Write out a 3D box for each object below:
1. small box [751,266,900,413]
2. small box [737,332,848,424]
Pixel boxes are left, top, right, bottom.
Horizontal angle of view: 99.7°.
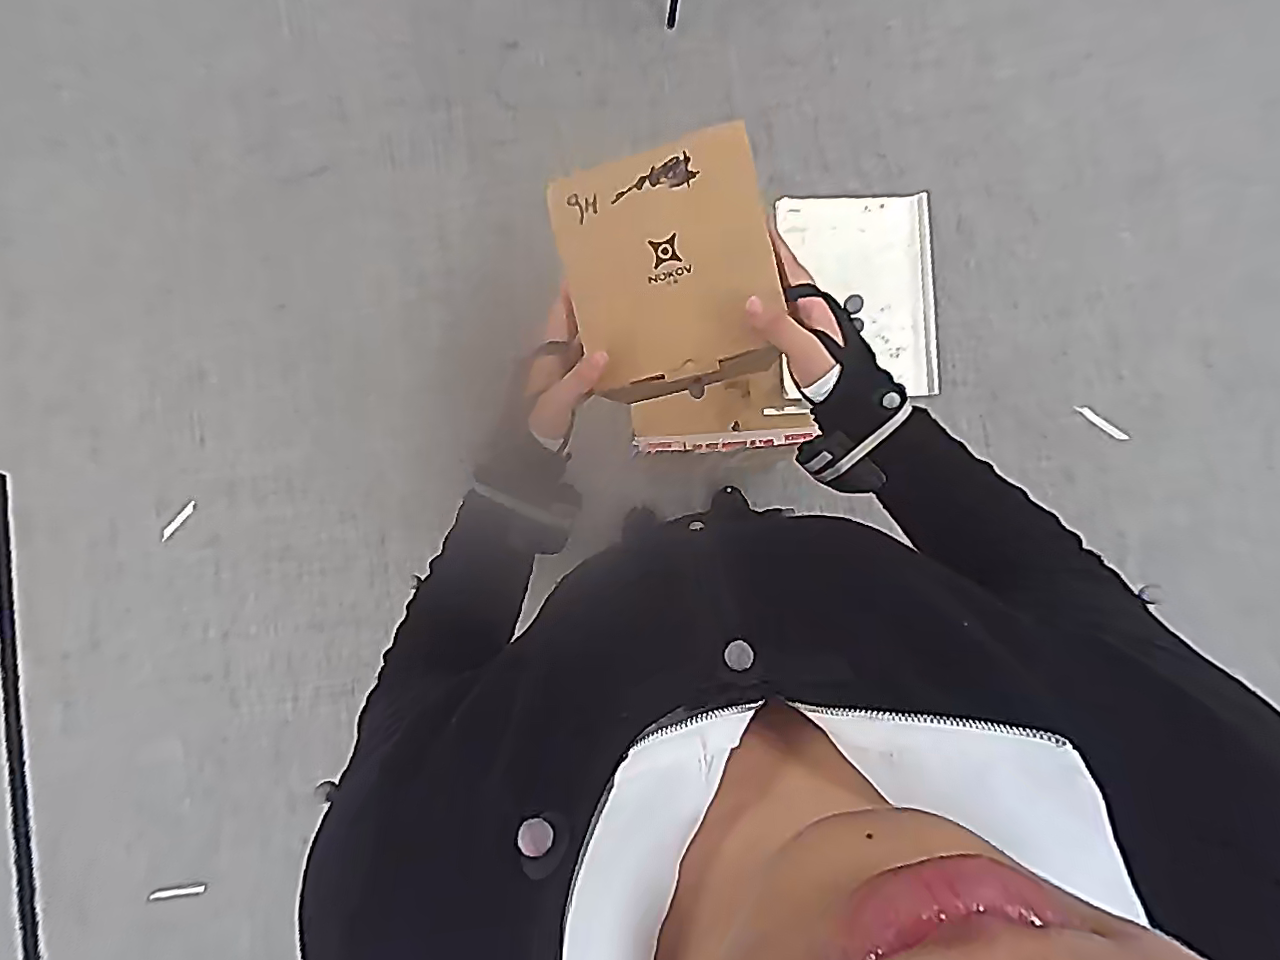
[{"bbox_3d":[0.266,-0.201,0.812,0.168,0.176,0.179,-2,89,-1],"label":"small box"},{"bbox_3d":[0.283,-0.198,0.977,0.179,0.176,0.168,-6,88,-1],"label":"small box"}]
